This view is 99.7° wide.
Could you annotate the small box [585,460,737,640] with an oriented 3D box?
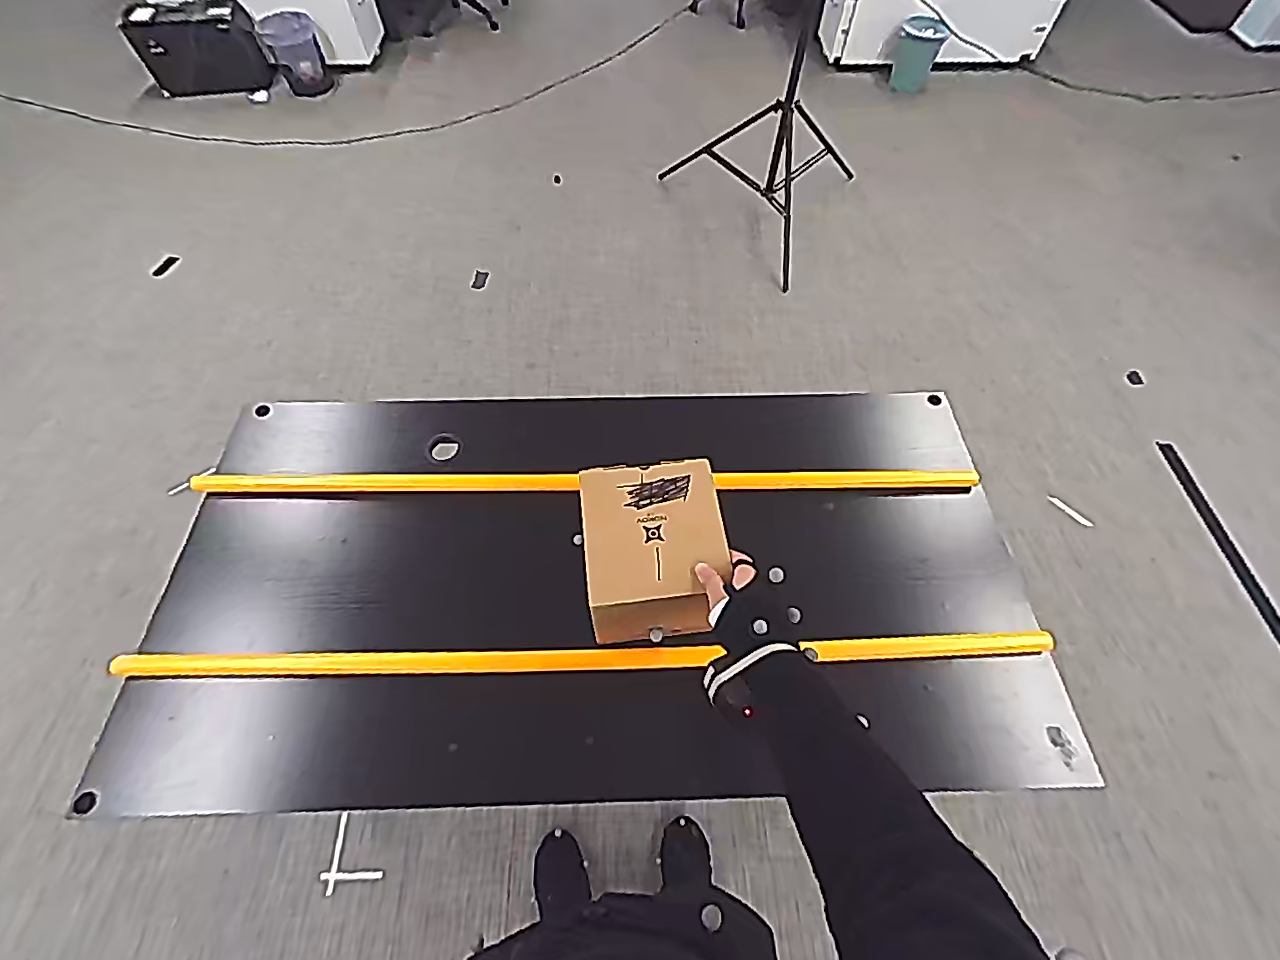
[{"bbox_3d":[0.018,0.095,0.705,0.168,0.176,0.179,-6,60,-3],"label":"small box"}]
